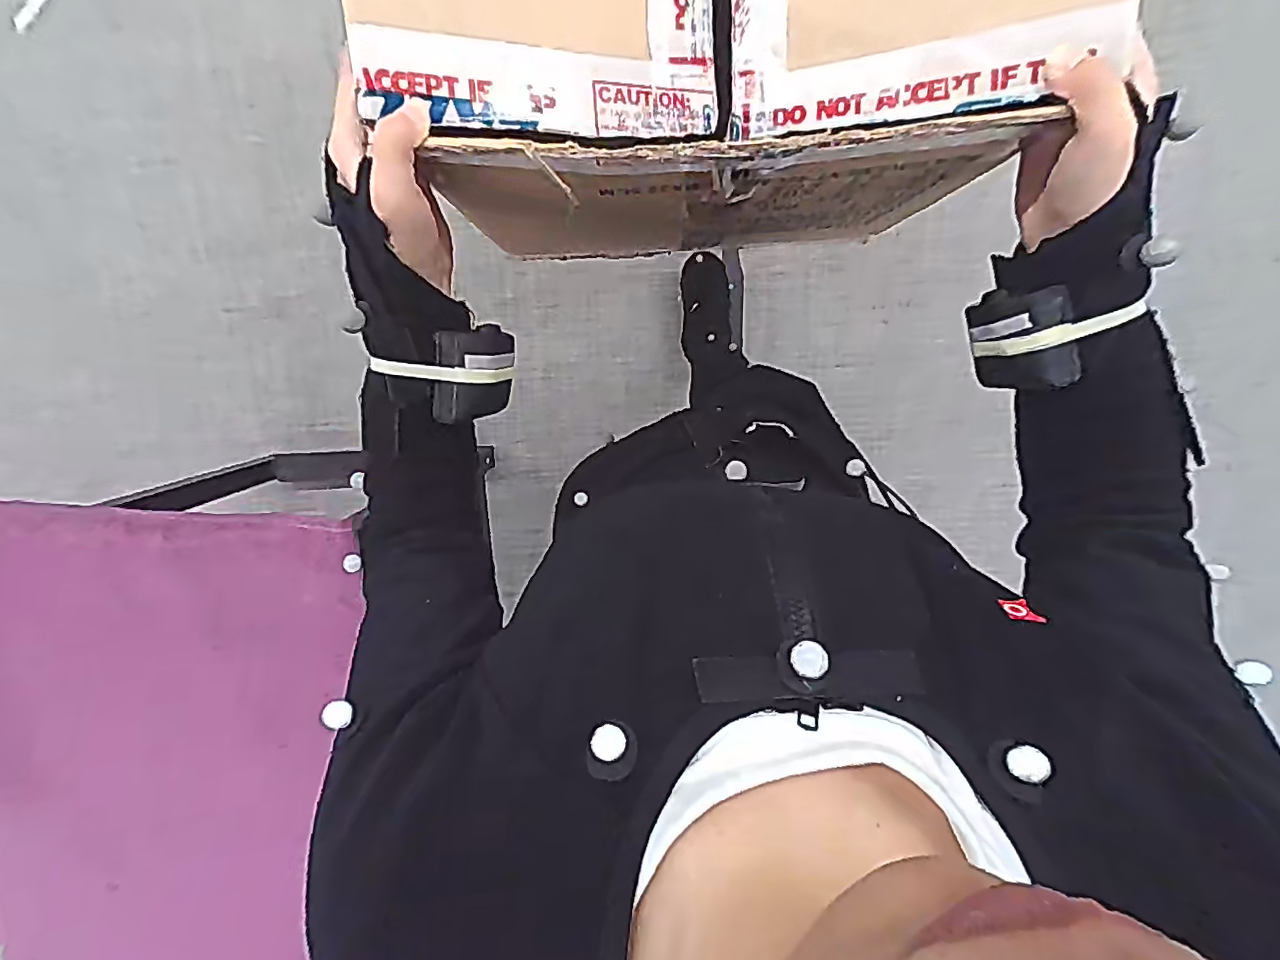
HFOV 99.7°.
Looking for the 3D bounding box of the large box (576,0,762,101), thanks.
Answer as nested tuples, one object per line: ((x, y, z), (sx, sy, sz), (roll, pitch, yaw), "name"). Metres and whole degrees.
((0.035, -0.997, 0.994), (0.320, 0.320, 0.408), (-3, 104, 2), "large box")
